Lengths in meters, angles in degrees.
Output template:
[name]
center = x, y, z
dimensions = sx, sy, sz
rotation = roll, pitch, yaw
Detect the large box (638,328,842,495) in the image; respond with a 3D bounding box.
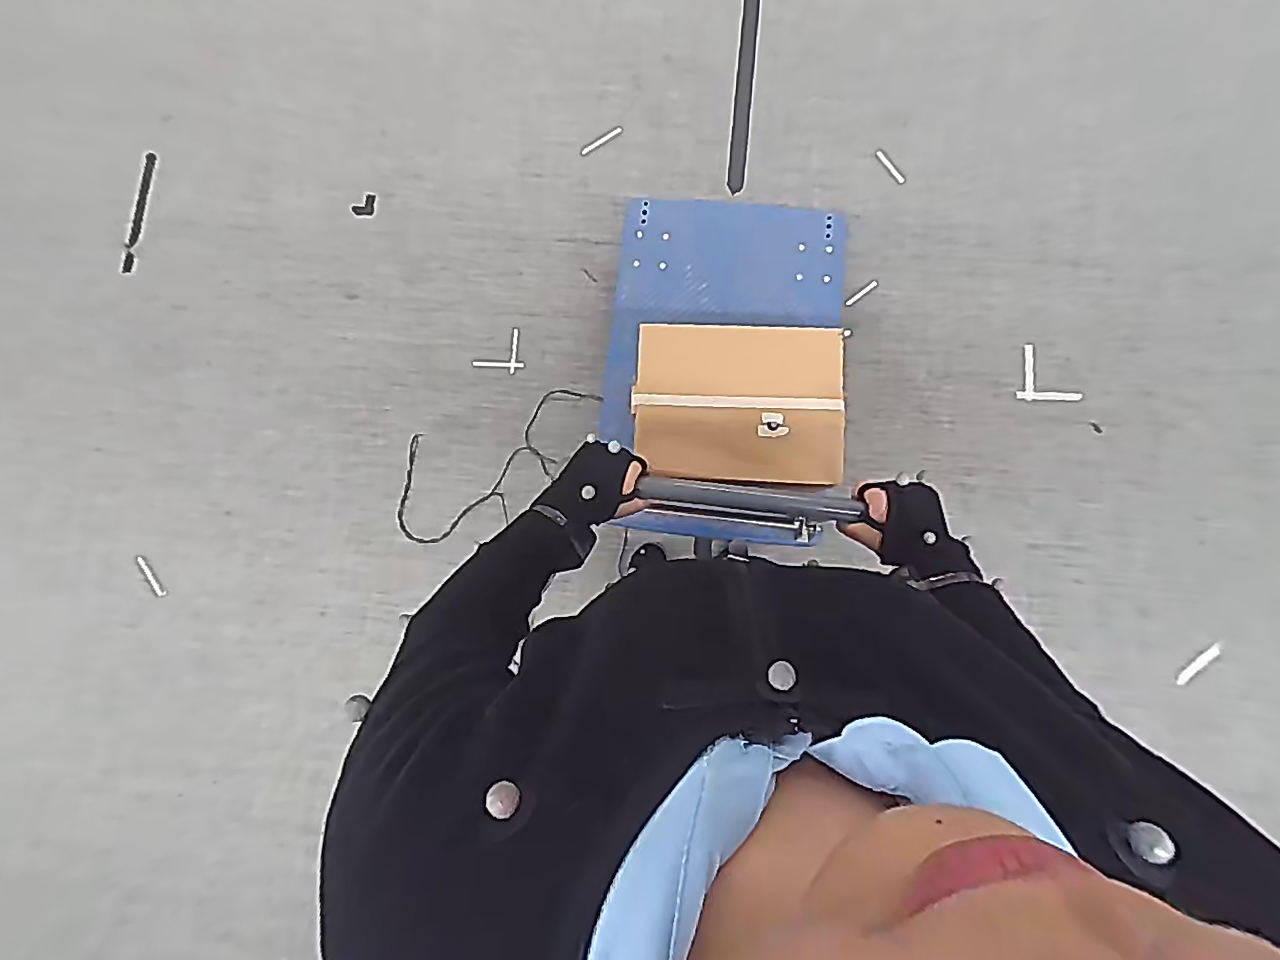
[large box]
center = 0.202, -0.134, 1.217
dimensions = 0.408, 0.320, 0.320
rotation = 2, 85, 2
